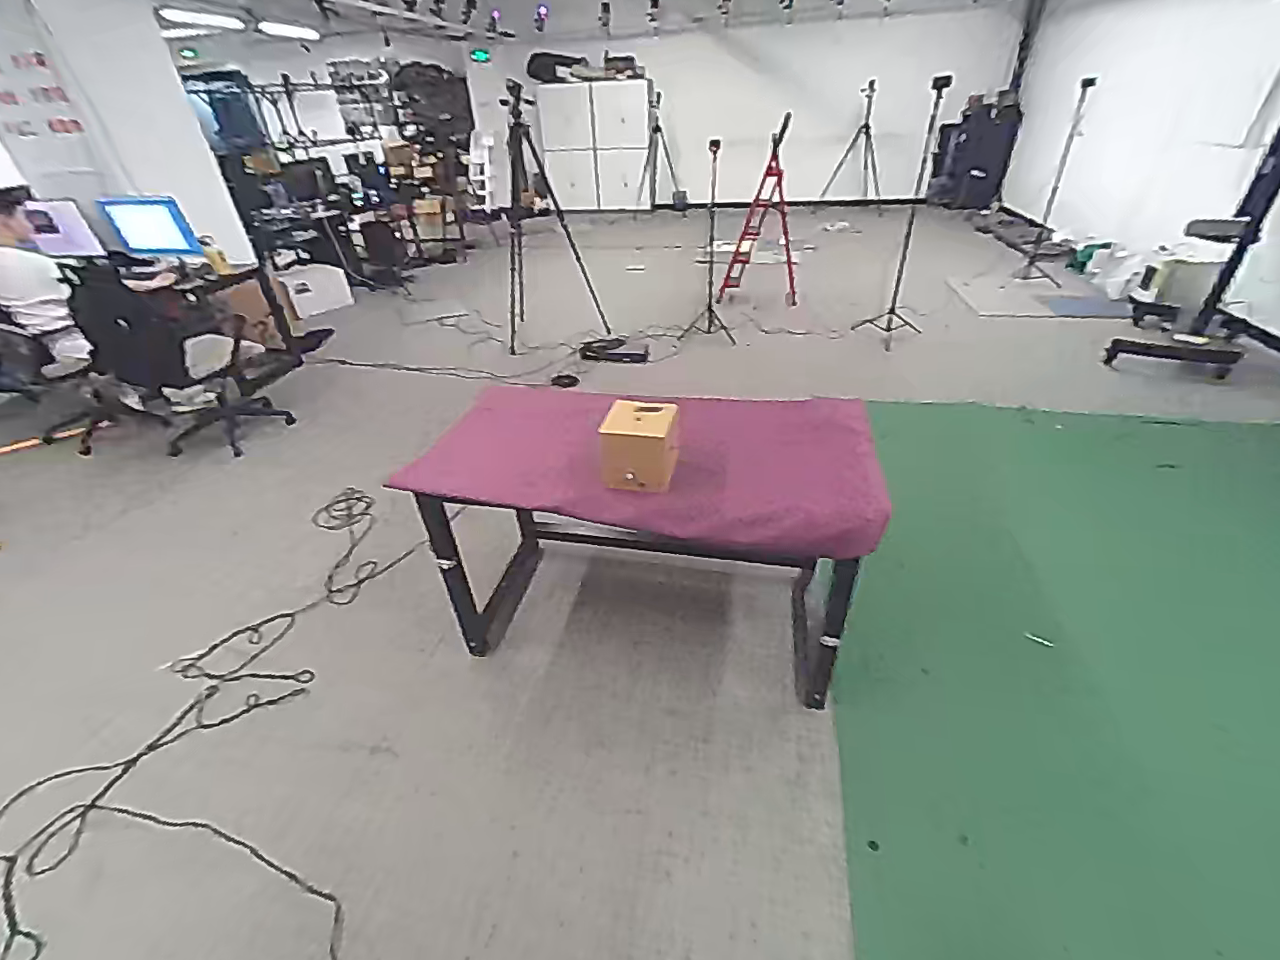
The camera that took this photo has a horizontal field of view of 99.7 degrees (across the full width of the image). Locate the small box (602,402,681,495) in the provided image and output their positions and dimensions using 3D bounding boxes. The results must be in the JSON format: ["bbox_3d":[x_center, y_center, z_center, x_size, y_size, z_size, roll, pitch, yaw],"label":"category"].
[{"bbox_3d":[0.009,-0.084,1.388,0.168,0.176,0.179,5,35,13],"label":"small box"}]
